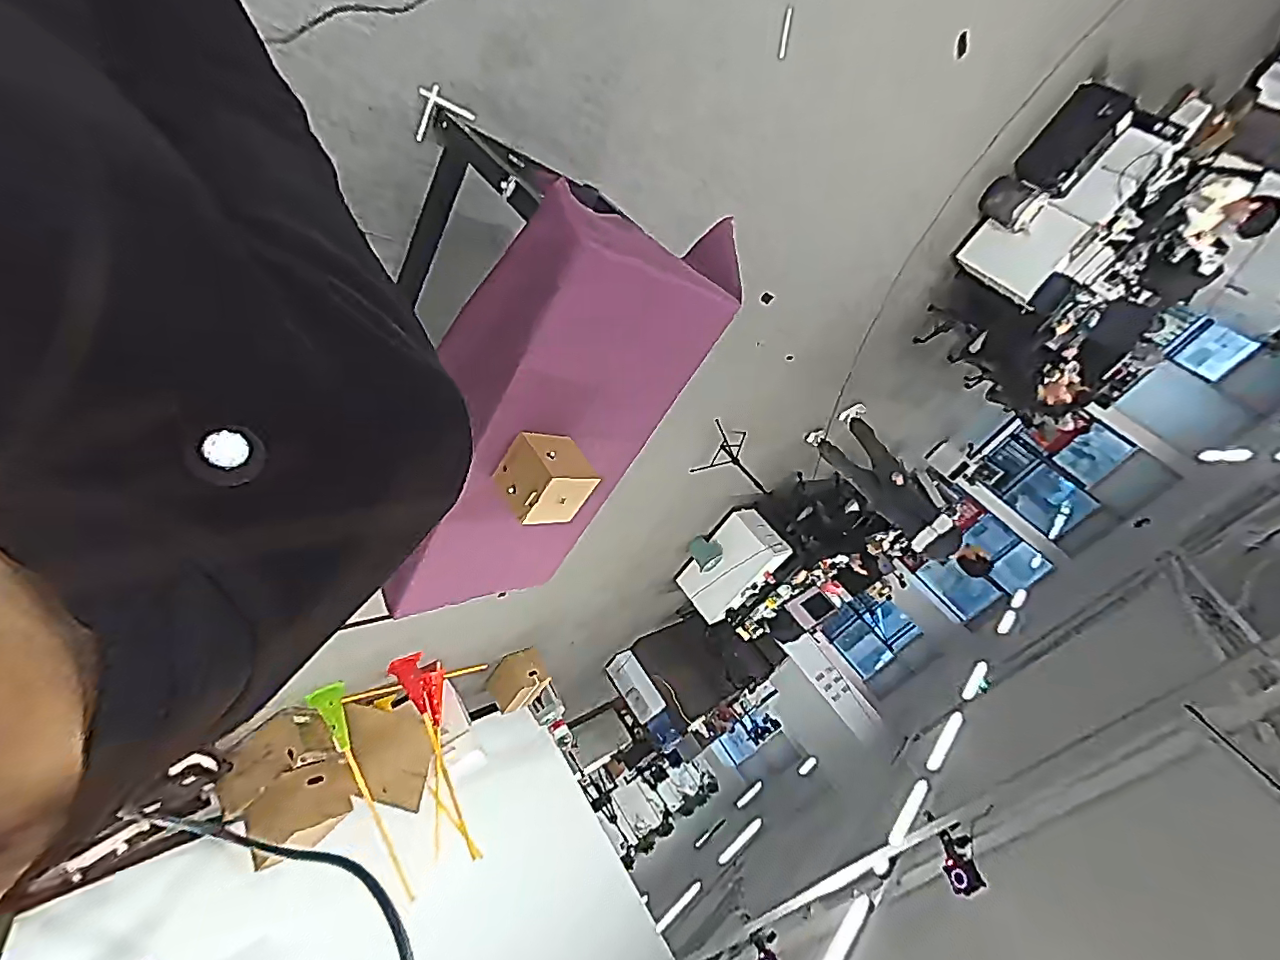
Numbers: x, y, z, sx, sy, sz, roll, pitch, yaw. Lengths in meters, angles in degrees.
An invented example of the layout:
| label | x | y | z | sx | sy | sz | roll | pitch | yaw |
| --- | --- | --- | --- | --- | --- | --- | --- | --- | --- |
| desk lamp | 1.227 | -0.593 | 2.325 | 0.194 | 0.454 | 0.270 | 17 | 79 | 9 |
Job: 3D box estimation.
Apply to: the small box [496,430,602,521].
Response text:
| label | x | y | z | sx | sy | sz | roll | pitch | yaw |
| --- | --- | --- | --- | --- | --- | --- | --- | --- | --- |
| small box | -0.240 | -0.012 | 1.398 | 0.179 | 0.176 | 0.168 | 0 | 134 | -53 |
